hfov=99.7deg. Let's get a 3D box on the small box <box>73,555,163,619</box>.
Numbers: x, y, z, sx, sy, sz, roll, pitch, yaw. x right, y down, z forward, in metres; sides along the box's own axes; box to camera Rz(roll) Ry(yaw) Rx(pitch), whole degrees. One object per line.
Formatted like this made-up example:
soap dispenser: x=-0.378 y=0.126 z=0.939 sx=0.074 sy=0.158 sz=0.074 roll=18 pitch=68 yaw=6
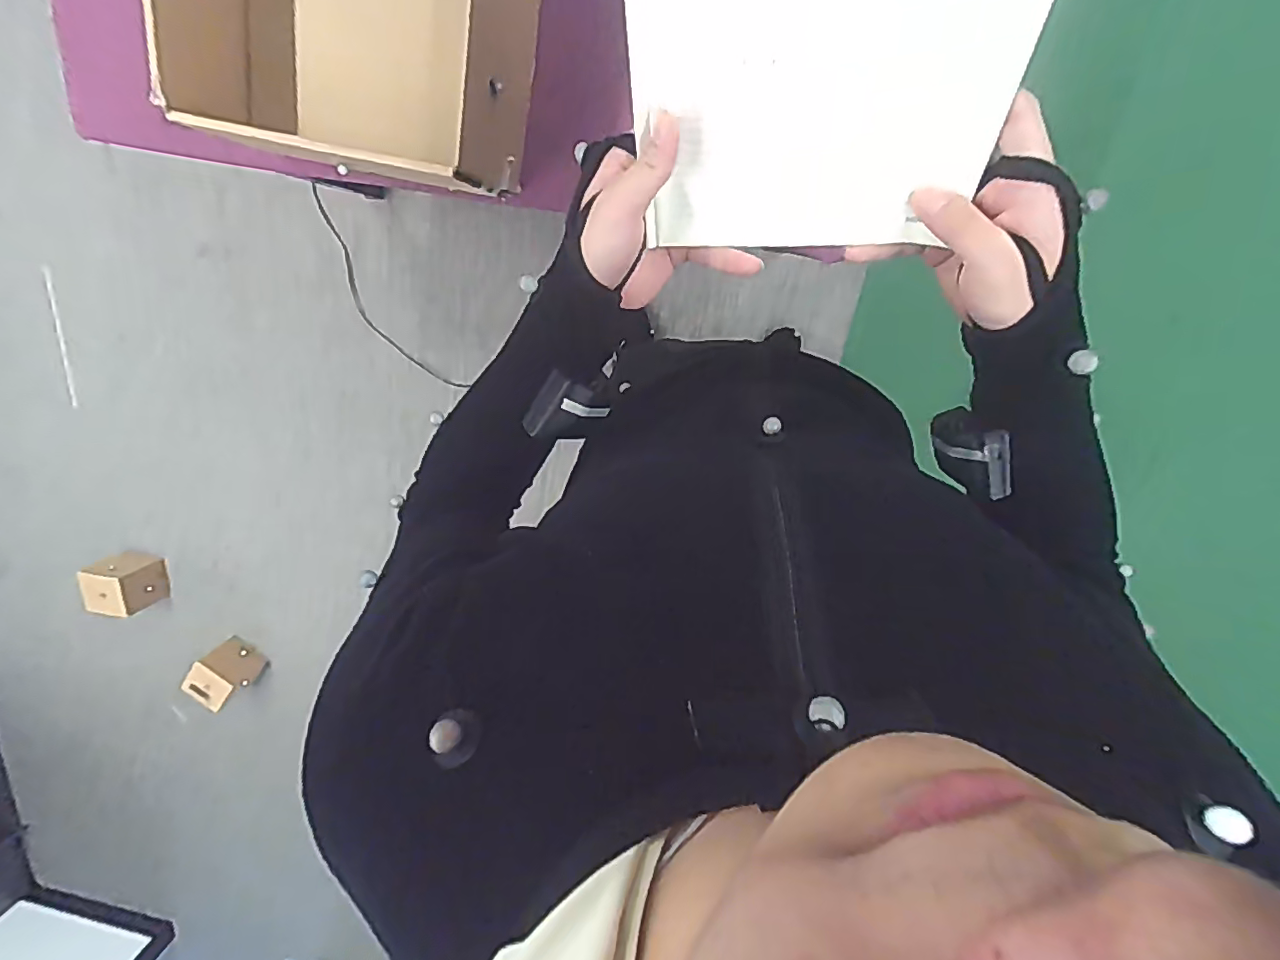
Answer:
small box: x=-1.930 y=0.393 z=2.015 sx=0.179 sy=0.176 sz=0.168 roll=8 pitch=108 yaw=6
